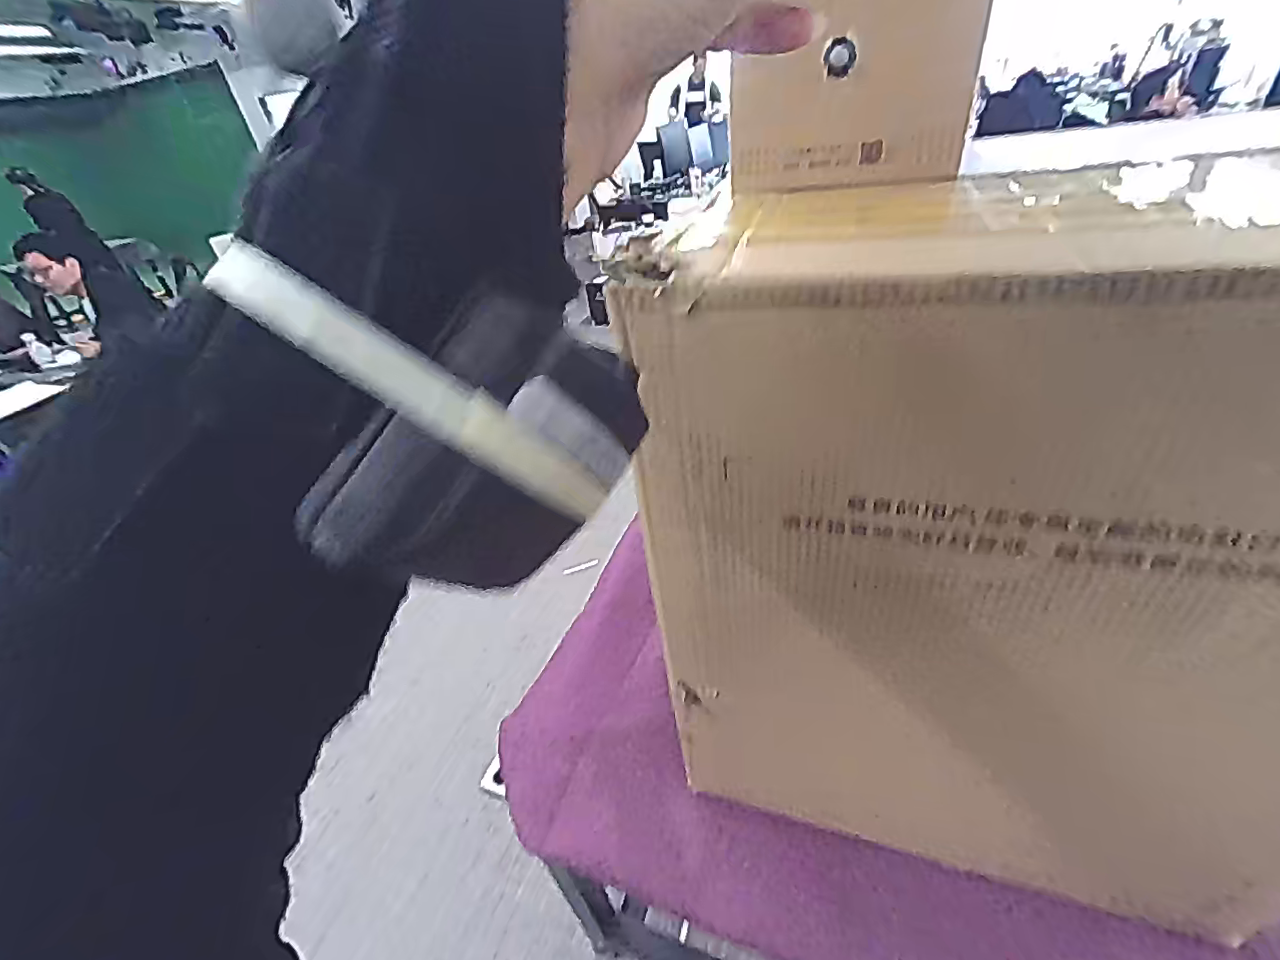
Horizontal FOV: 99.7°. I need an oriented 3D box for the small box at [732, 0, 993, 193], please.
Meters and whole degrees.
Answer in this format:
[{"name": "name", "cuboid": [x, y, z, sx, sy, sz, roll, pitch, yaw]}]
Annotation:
[{"name": "small box", "cuboid": [0.171, -0.334, 0.430, 0.168, 0.176, 0.179, 7, 38, 18]}]
